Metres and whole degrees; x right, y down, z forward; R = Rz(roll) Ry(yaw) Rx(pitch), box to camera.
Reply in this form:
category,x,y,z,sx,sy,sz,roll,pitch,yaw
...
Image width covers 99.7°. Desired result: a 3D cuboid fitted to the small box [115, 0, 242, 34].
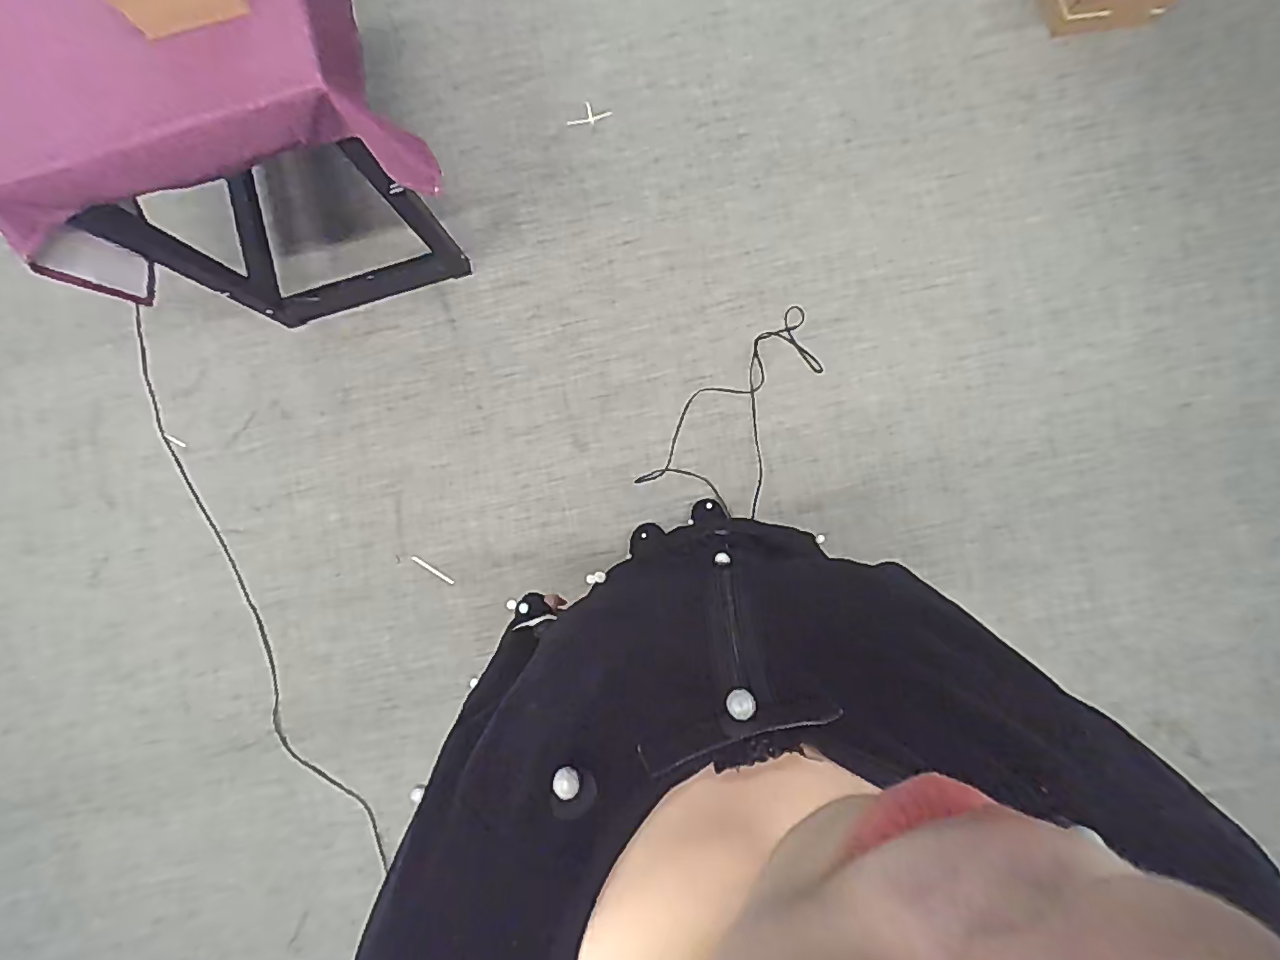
category,x,y,z,sx,sy,sz,roll,pitch,yaw
small box,-0.727,-0.819,0.799,0.179,0.176,0.168,-13,86,3
